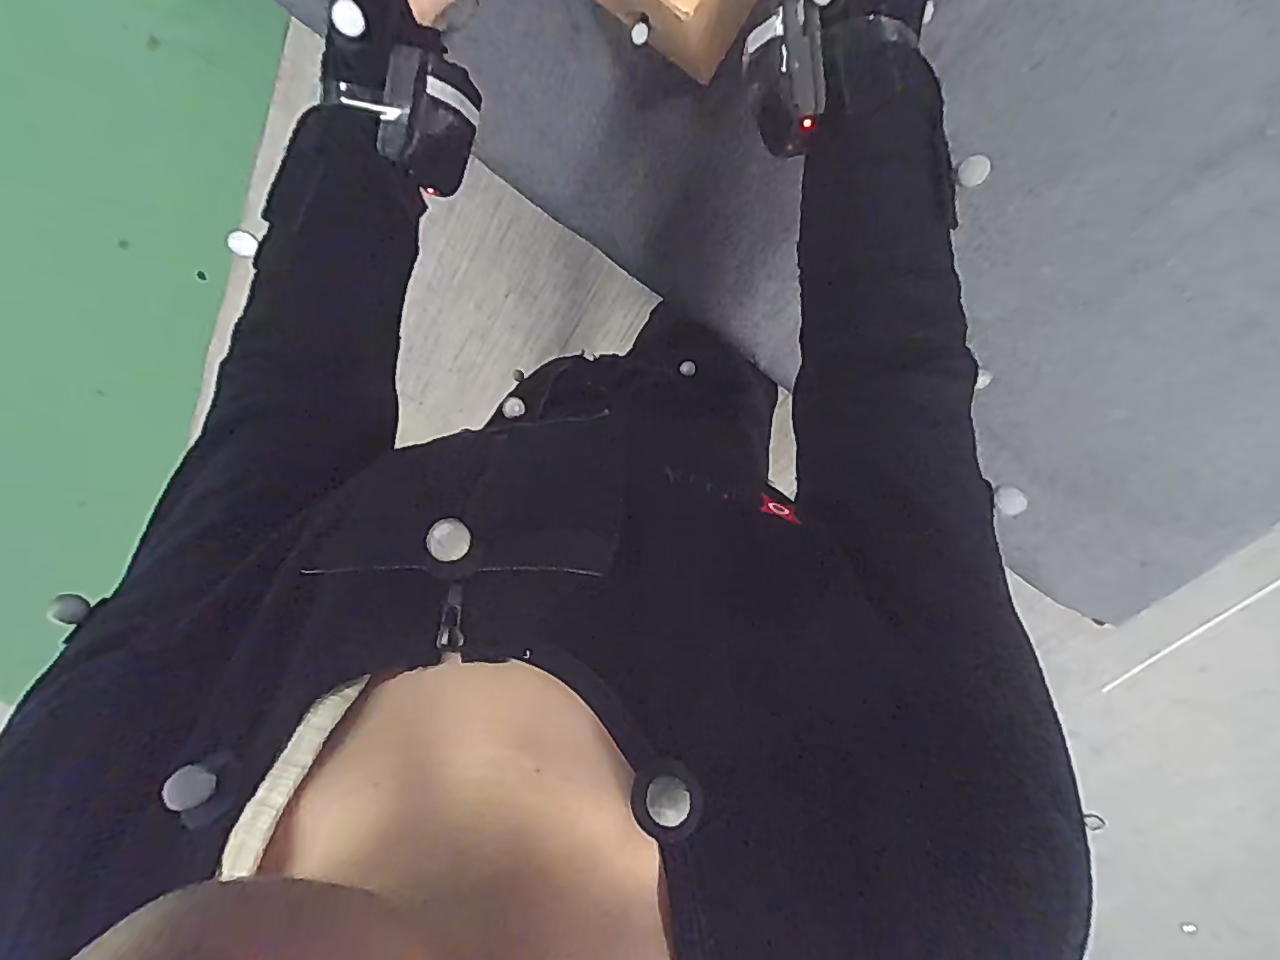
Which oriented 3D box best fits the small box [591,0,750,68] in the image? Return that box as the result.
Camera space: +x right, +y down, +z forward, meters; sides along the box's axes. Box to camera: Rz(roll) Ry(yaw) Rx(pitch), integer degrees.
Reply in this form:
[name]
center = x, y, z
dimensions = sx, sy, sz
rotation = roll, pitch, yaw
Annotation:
[small box]
center = 0.017, -0.405, 0.340
dimensions = 0.179, 0.176, 0.168
rotation = 35, 113, -6
